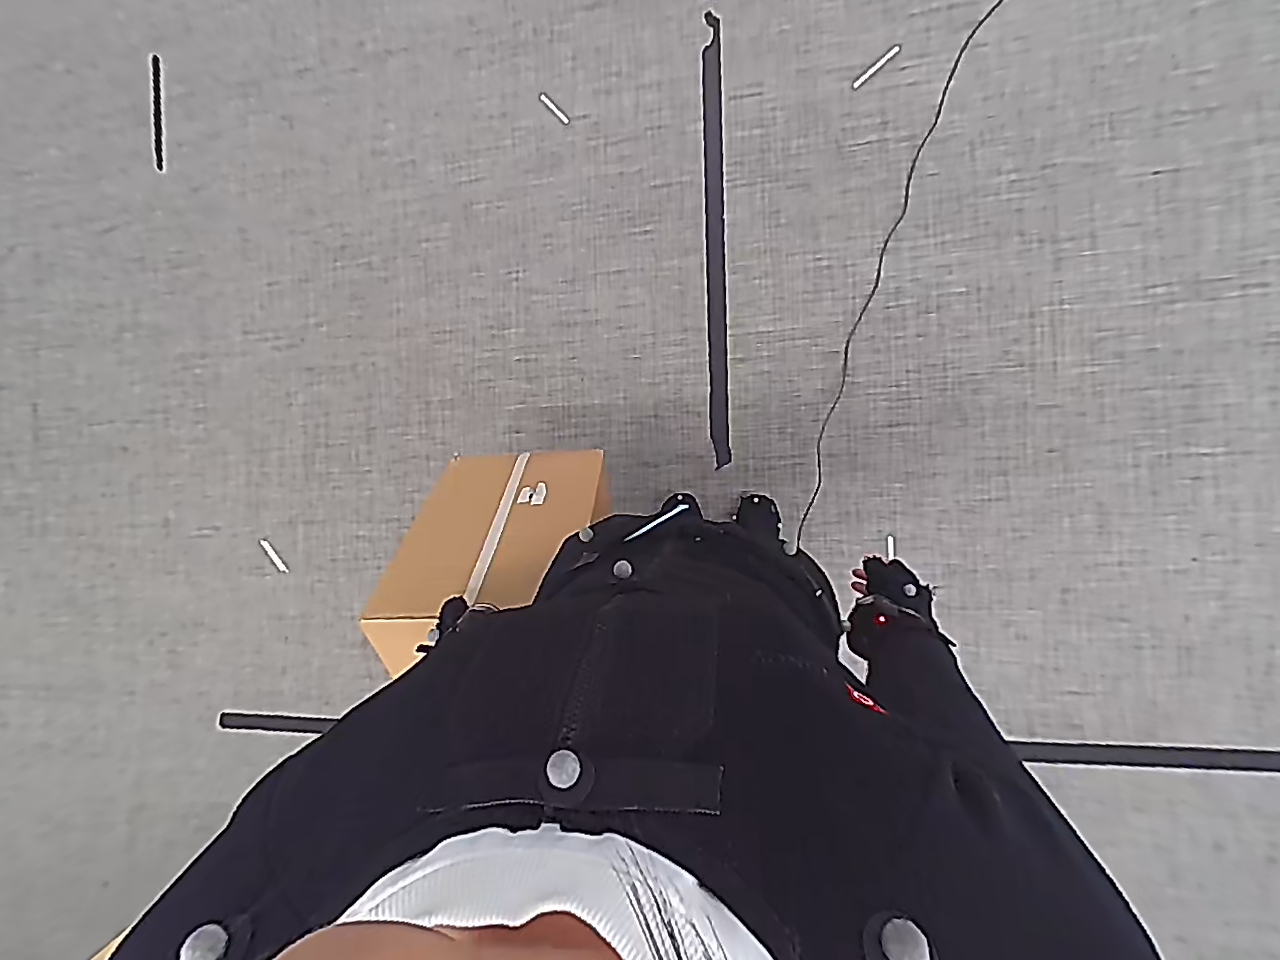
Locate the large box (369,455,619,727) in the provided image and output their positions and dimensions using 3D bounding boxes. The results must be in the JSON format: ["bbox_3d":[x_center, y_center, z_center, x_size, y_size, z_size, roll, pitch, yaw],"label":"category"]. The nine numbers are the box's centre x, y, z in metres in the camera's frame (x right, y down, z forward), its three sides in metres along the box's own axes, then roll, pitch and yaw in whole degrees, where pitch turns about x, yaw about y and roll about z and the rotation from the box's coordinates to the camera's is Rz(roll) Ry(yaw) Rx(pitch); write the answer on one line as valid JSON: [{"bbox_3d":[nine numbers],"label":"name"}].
[{"bbox_3d":[-0.222,0.196,1.015,0.320,0.408,0.320,-2,126,6],"label":"large box"}]
